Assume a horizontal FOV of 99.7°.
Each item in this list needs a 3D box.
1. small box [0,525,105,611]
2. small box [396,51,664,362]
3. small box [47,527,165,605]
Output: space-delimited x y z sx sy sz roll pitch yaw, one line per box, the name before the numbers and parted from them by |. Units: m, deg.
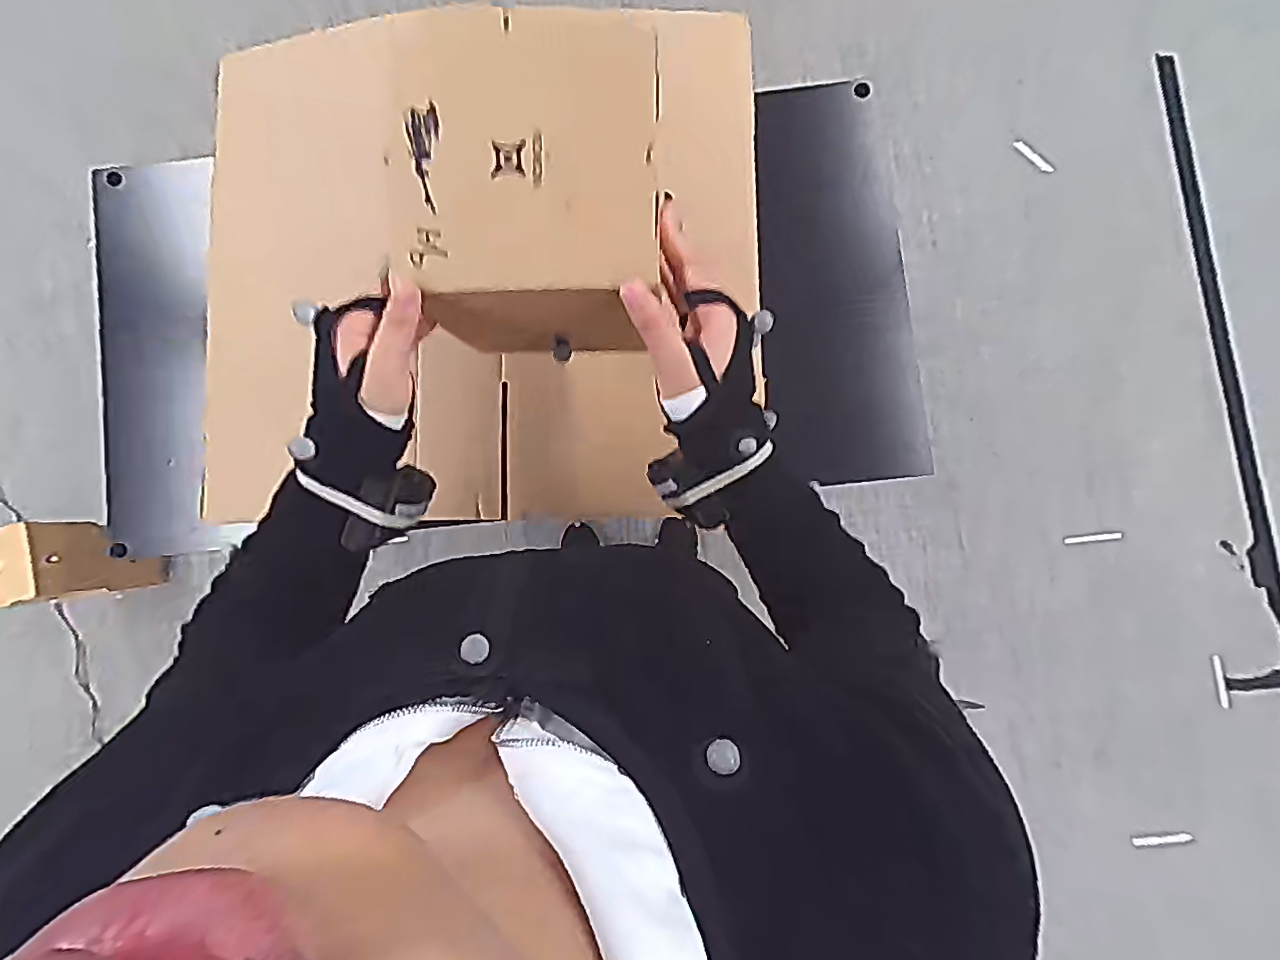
small box | -1.436 0.207 1.287 0.168 0.176 0.179 -13 85 0
small box | -0.071 -0.197 0.434 0.179 0.176 0.168 0 87 1
small box | -1.431 0.225 1.449 0.168 0.176 0.179 -10 86 0
